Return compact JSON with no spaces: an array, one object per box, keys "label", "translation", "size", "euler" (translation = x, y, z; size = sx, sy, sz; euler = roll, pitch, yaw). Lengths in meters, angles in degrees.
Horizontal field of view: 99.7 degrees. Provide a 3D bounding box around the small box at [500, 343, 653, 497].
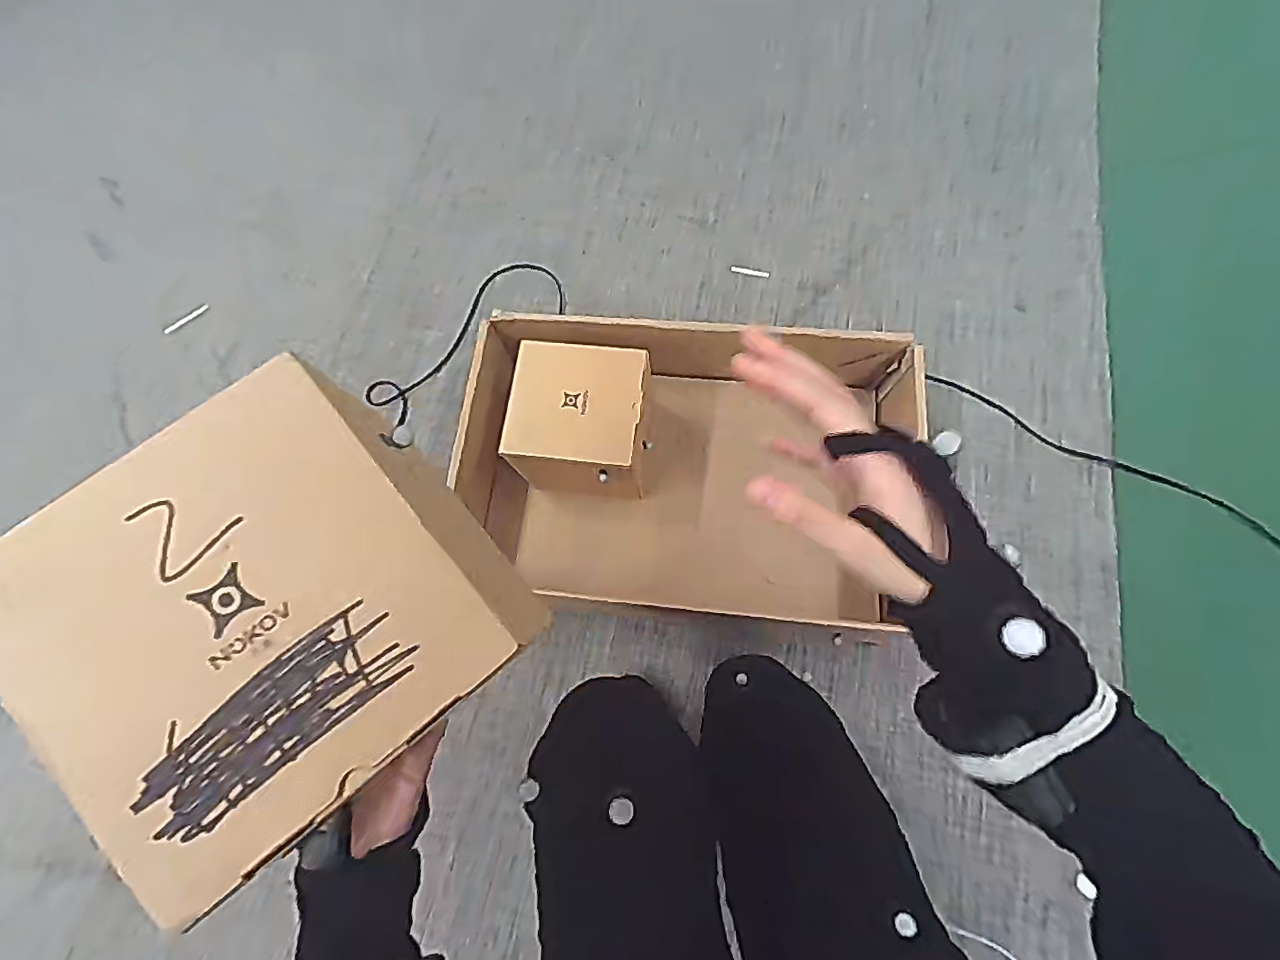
[{"label":"small box","translation":[-0.080,-0.078,0.781],"size":[0.179,0.176,0.168],"euler":[6,74,5]}]
